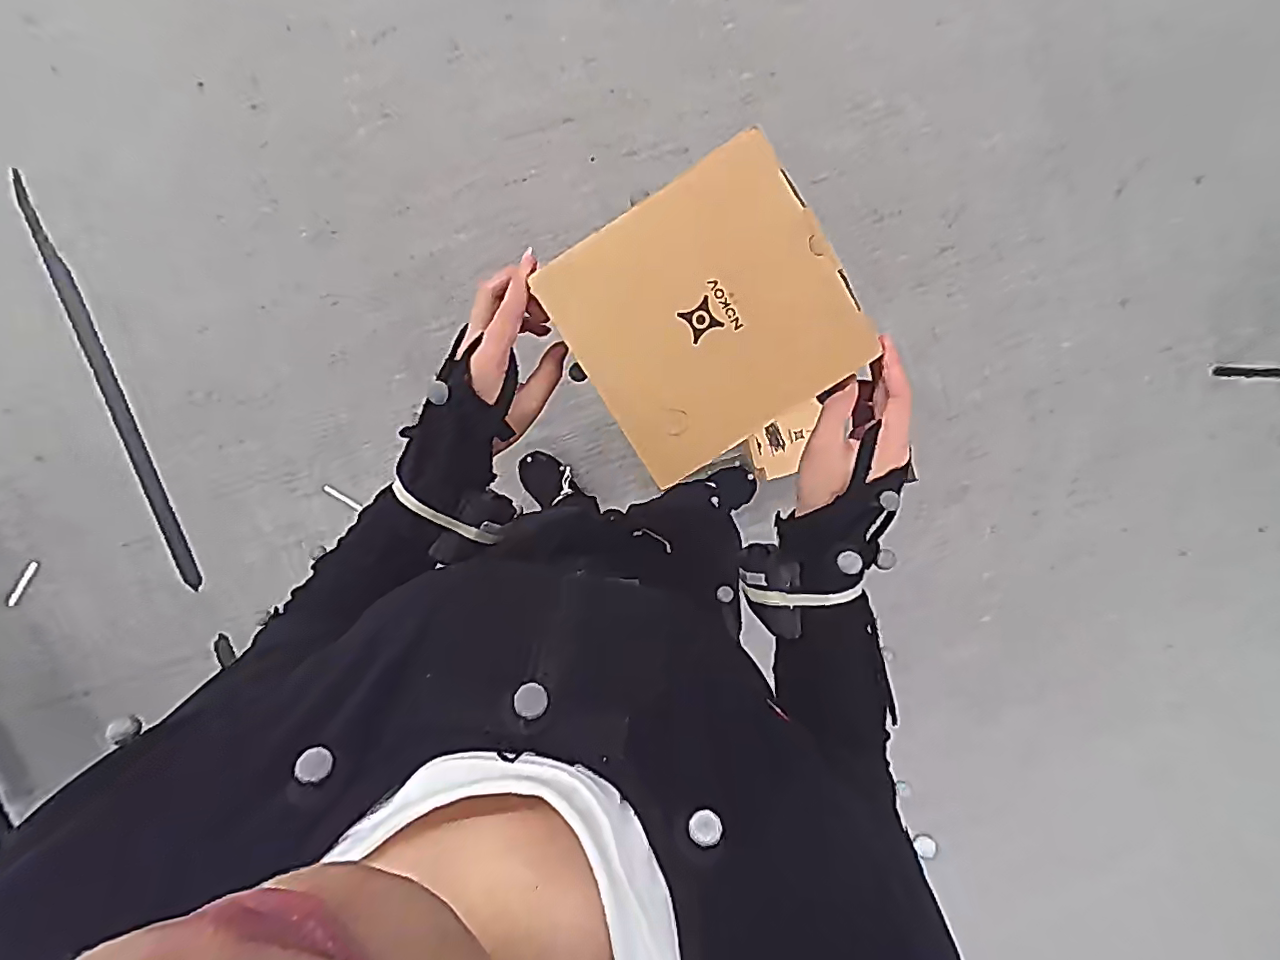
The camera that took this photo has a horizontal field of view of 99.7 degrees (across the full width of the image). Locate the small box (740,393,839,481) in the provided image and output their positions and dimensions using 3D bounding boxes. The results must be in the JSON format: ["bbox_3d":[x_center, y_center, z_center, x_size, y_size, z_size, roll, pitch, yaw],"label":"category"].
[{"bbox_3d":[0.346,-0.104,1.289,0.179,0.176,0.168,-15,98,0],"label":"small box"}]
